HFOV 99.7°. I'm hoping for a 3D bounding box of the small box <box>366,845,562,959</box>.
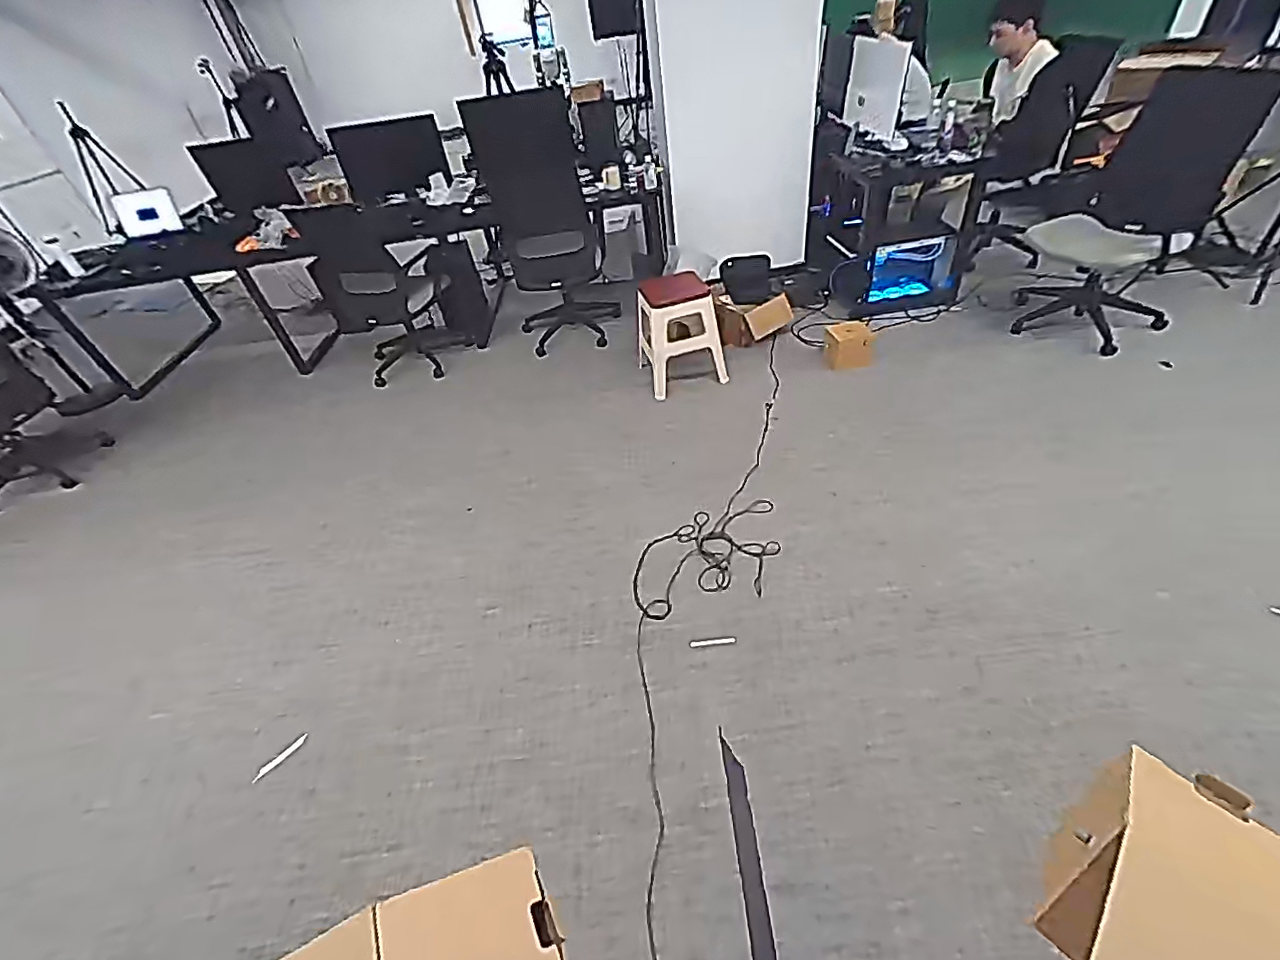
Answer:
[{"bbox_3d":[-0.195,0.550,0.585,0.179,0.176,0.168,0,35,-33],"label":"small box"}]
